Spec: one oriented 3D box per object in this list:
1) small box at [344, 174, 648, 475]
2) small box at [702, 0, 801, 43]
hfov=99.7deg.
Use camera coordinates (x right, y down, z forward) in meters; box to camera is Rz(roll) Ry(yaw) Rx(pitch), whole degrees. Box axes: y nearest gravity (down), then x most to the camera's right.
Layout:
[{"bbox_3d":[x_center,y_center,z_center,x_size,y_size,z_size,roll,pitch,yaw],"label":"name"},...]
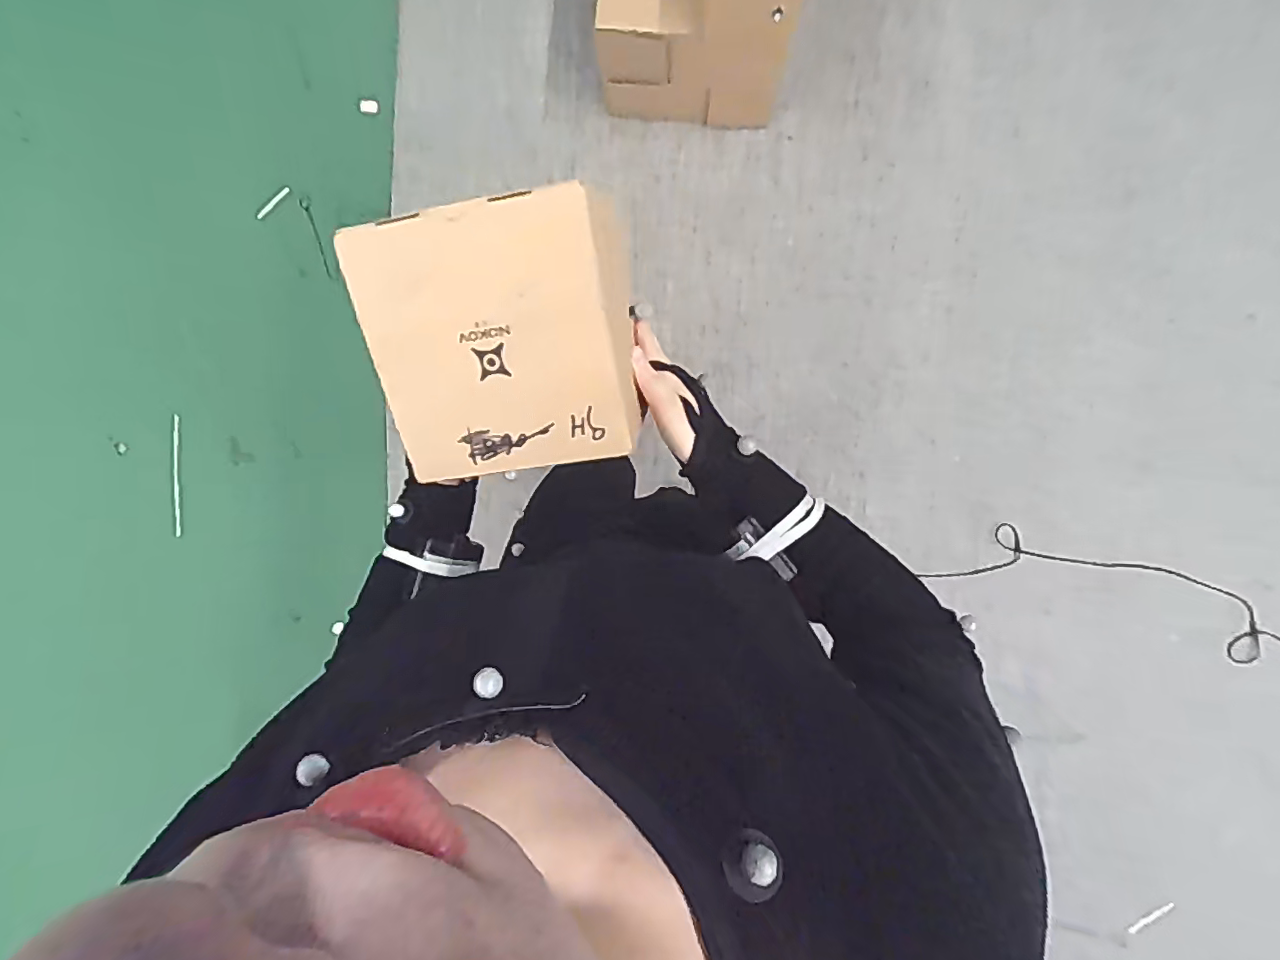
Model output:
[{"bbox_3d":[-0.090,-0.121,0.435,0.168,0.176,0.179,-7,110,8],"label":"small box"},{"bbox_3d":[0.209,-0.930,0.973,0.179,0.176,0.168,5,95,4],"label":"small box"}]
